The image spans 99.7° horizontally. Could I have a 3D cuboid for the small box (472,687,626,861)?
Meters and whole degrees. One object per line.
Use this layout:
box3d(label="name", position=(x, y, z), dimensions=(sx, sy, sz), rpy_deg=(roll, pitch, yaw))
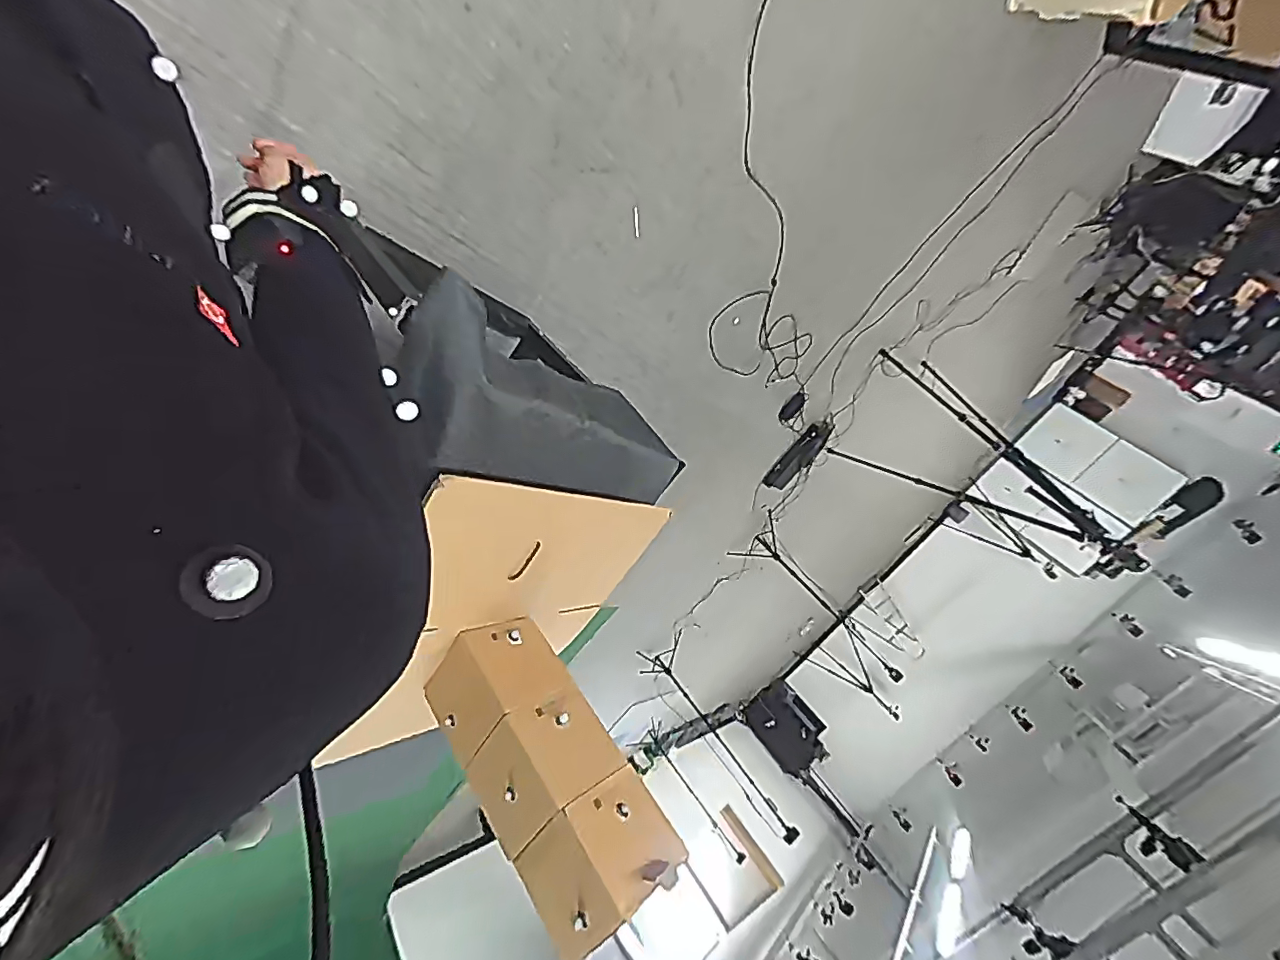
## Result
box3d(label="small box", position=(-0.163, 0.493, 0.930), dimensions=(0.168, 0.176, 0.179), rpy_deg=(-1, 131, -53))

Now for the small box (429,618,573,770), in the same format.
box3d(label="small box", position=(-0.264, 0.386, 1.003), dimensions=(0.168, 0.176, 0.179), rpy_deg=(0, 130, -54))

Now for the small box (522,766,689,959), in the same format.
box3d(label="small box", position=(-0.062, 0.601, 0.861), dimensions=(0.168, 0.176, 0.179), rpy_deg=(-2, 131, -53))
